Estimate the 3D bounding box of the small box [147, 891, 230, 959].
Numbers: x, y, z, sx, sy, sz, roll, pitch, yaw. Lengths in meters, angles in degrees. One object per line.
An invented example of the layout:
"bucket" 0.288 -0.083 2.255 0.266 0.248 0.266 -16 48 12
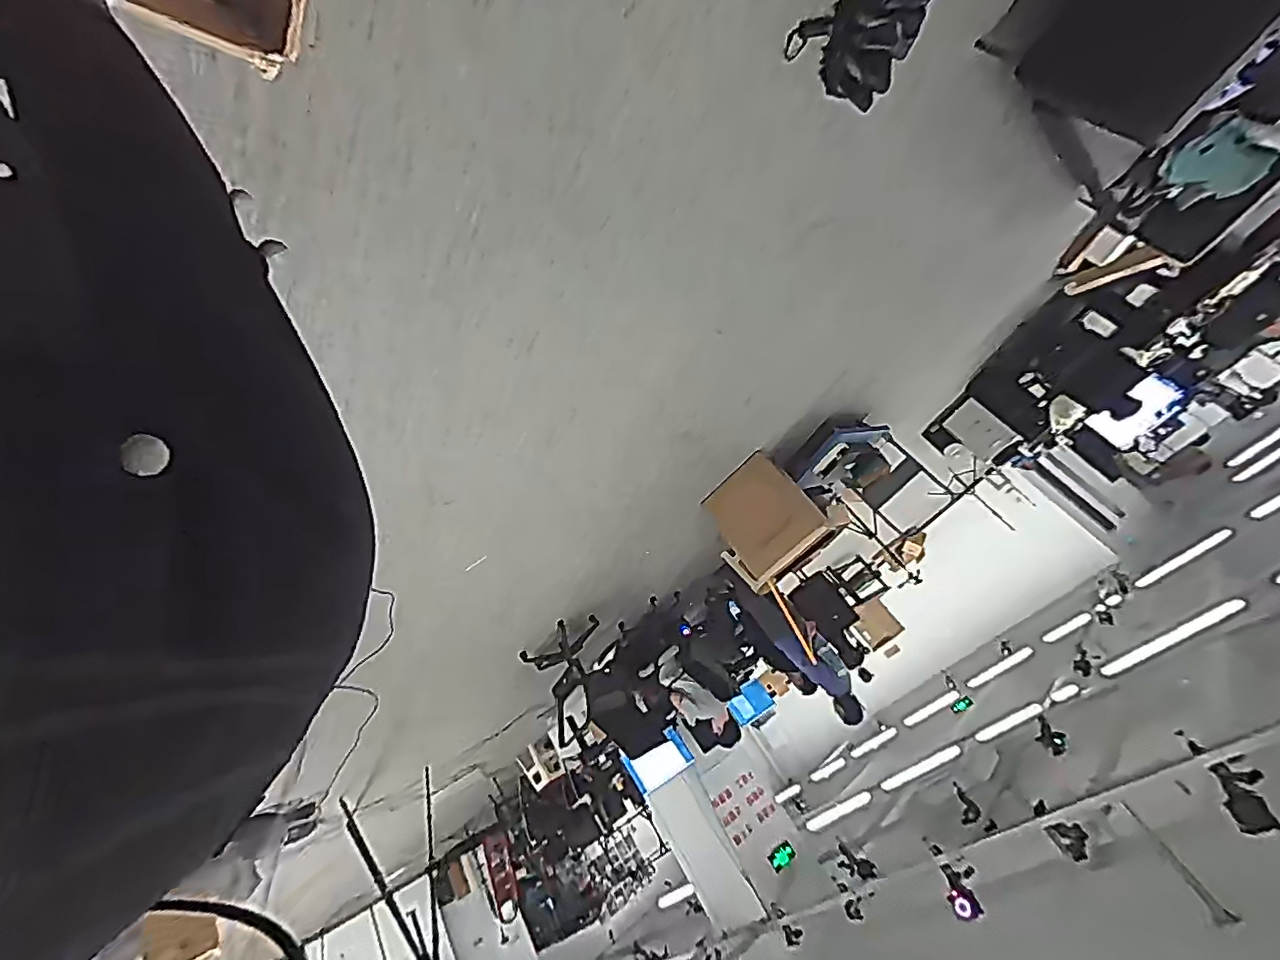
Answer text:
"small box" -1.419 1.444 1.704 0.179 0.176 0.168 -10 143 -40
